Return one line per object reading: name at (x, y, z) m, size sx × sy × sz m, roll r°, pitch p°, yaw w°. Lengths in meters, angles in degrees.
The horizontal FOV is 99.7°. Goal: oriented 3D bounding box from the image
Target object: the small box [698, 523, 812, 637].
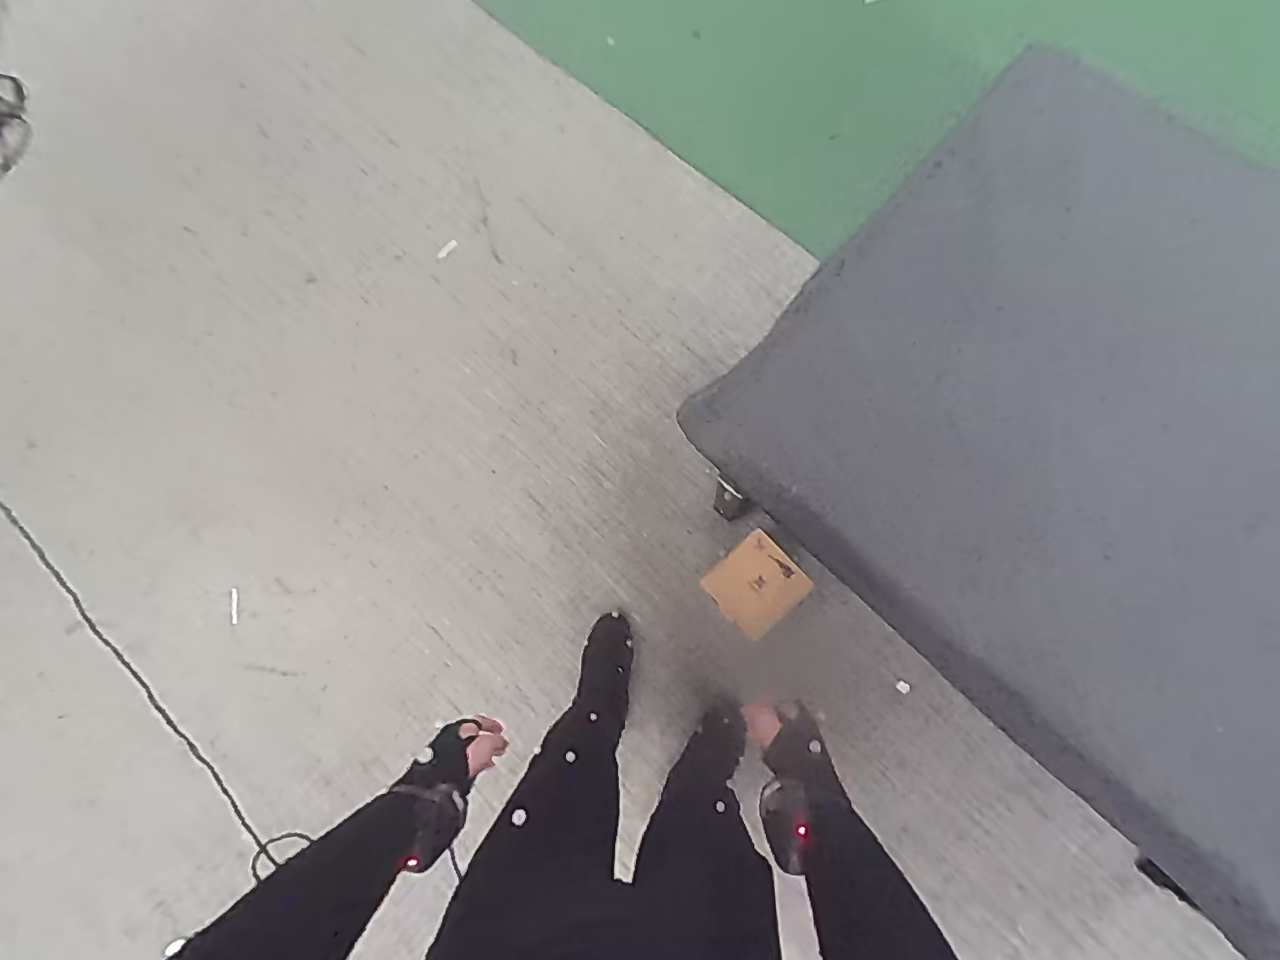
small box at (0.246, 0.218, 1.186) m, size 0.179 × 0.176 × 0.168 m, roll -43°, pitch 79°, yaw -2°
